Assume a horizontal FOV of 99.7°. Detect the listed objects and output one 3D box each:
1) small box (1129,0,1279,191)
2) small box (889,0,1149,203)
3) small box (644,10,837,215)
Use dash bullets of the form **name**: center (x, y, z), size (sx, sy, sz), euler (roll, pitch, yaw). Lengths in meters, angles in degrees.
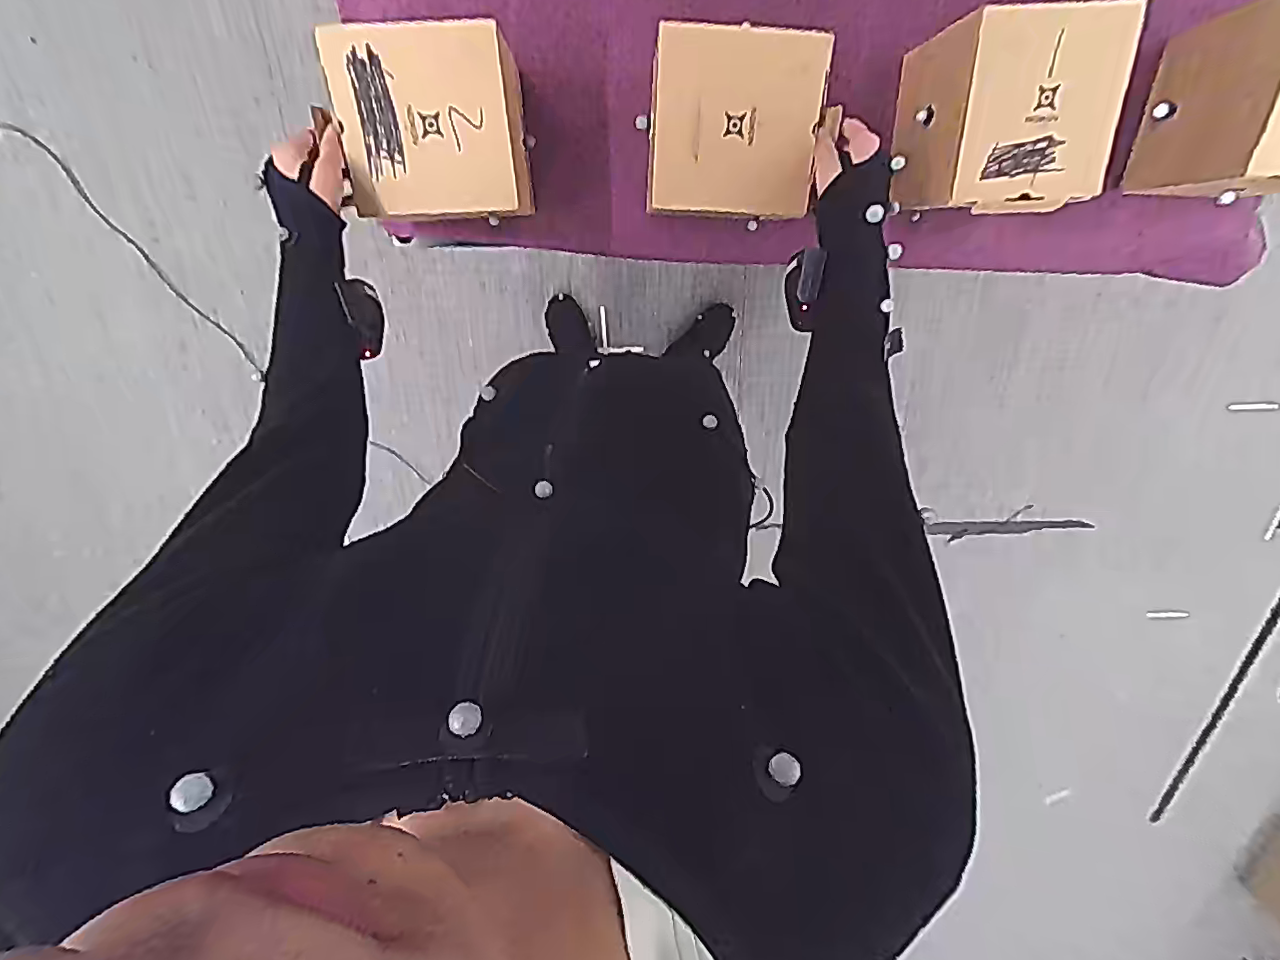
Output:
- **small box**: center (0.735, -0.443, 0.629), size (0.168, 0.176, 0.179), euler (2, 113, -2)
- **small box**: center (0.413, -0.424, 0.630), size (0.168, 0.176, 0.179), euler (-2, 114, -1)
- **small box**: center (0.100, -0.406, 0.629), size (0.179, 0.176, 0.168), euler (2, 114, -3)
